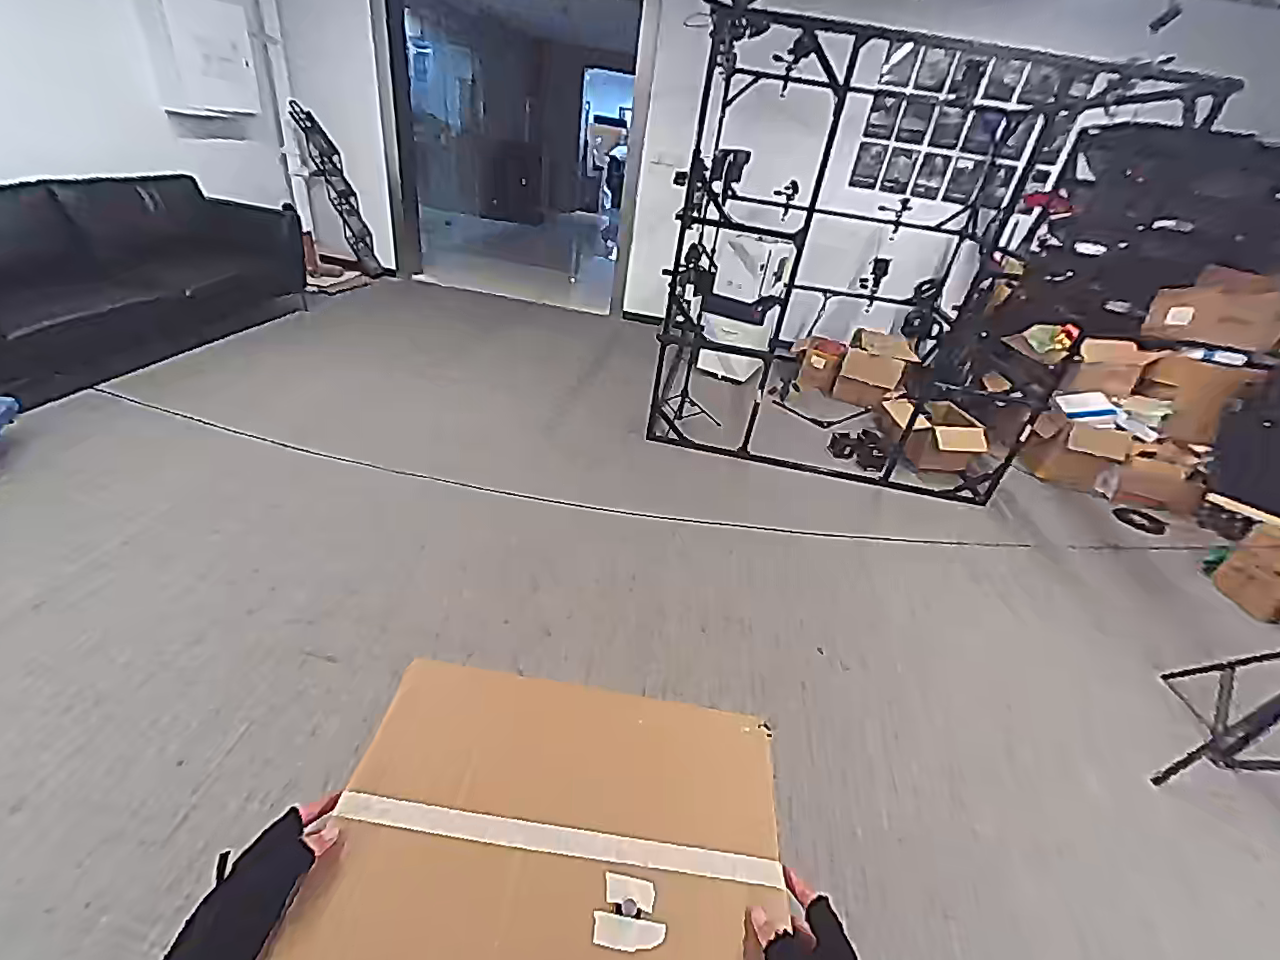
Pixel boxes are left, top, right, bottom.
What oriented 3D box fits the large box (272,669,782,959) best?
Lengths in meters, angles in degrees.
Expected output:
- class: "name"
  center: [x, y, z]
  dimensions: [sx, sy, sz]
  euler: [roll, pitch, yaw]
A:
- class: "large box"
  center: [-0.095, 0.452, 0.580]
  dimensions: [0.408, 0.320, 0.320]
  euler: [10, 35, -1]
